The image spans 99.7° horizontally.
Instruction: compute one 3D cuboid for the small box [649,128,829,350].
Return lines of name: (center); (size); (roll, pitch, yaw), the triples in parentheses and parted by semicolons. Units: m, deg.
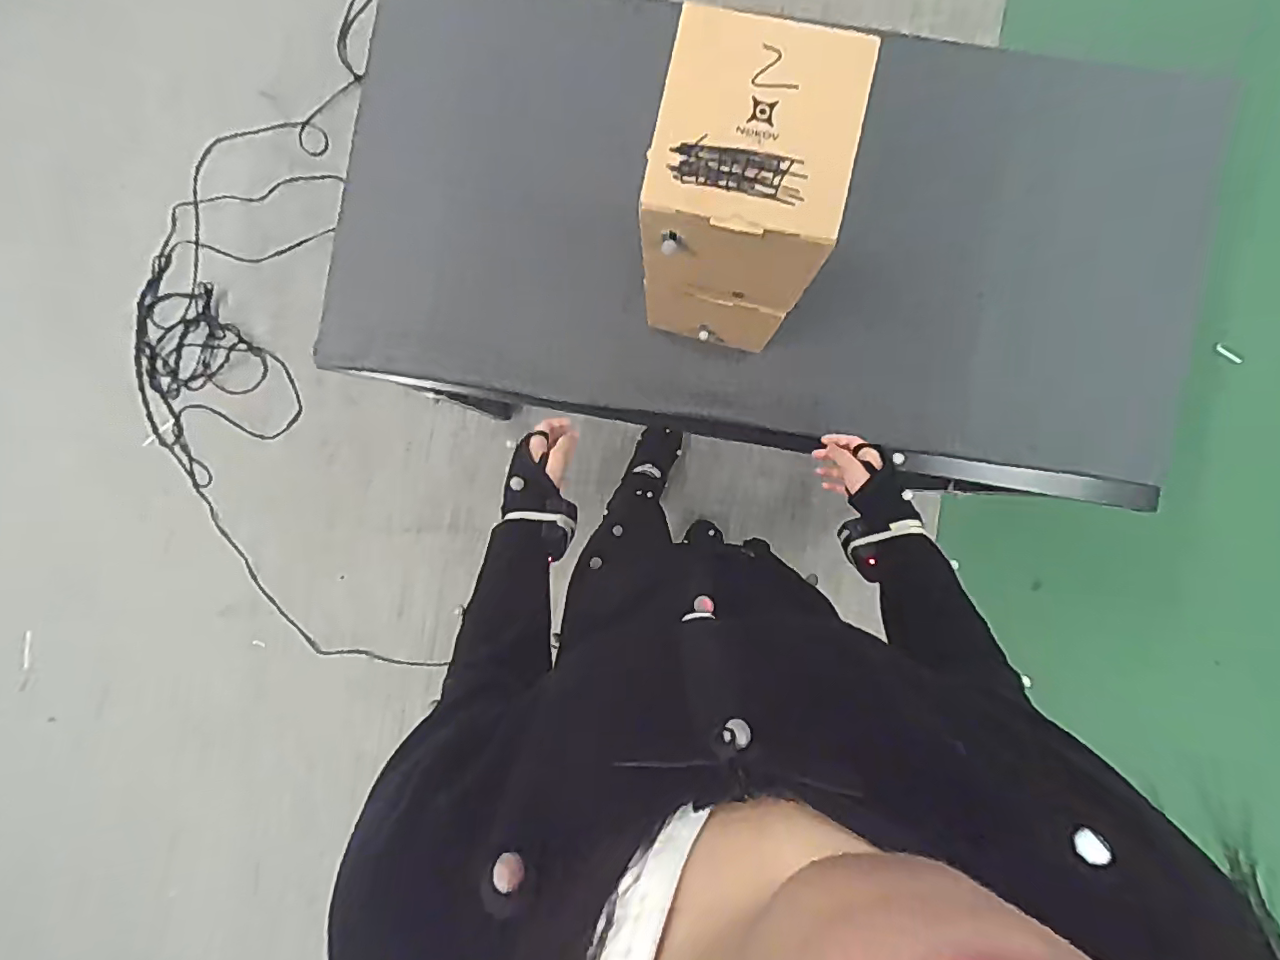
small box: (0.111, -0.283, 0.670); (0.168, 0.176, 0.179); (15, 89, 3)
